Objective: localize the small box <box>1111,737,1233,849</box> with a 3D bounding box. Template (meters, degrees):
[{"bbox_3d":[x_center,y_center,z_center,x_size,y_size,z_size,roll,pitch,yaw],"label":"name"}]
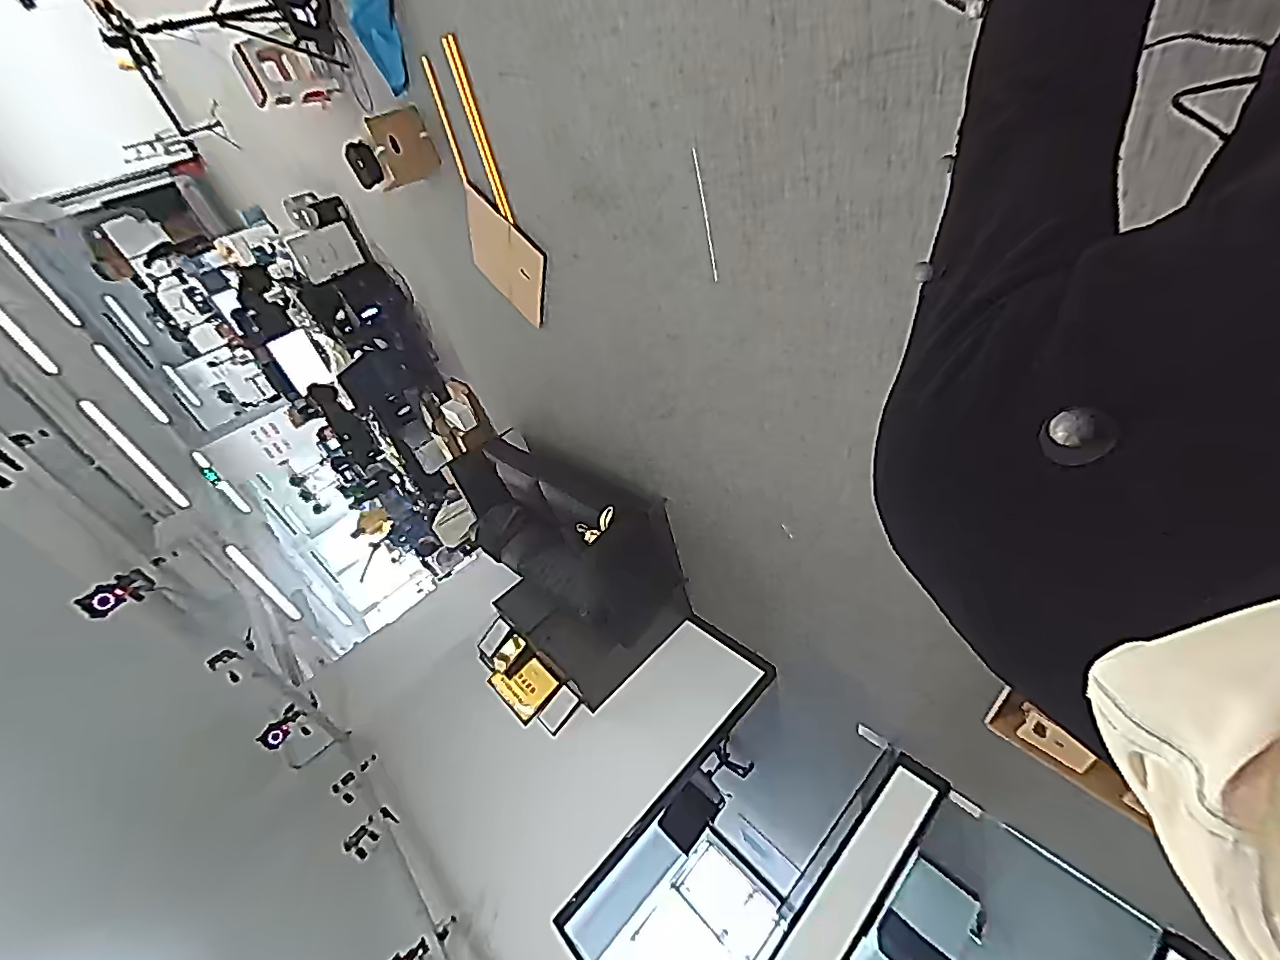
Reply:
[{"bbox_3d":[1.436,0.840,1.461,0.179,0.176,0.168,30,147,36],"label":"small box"}]
